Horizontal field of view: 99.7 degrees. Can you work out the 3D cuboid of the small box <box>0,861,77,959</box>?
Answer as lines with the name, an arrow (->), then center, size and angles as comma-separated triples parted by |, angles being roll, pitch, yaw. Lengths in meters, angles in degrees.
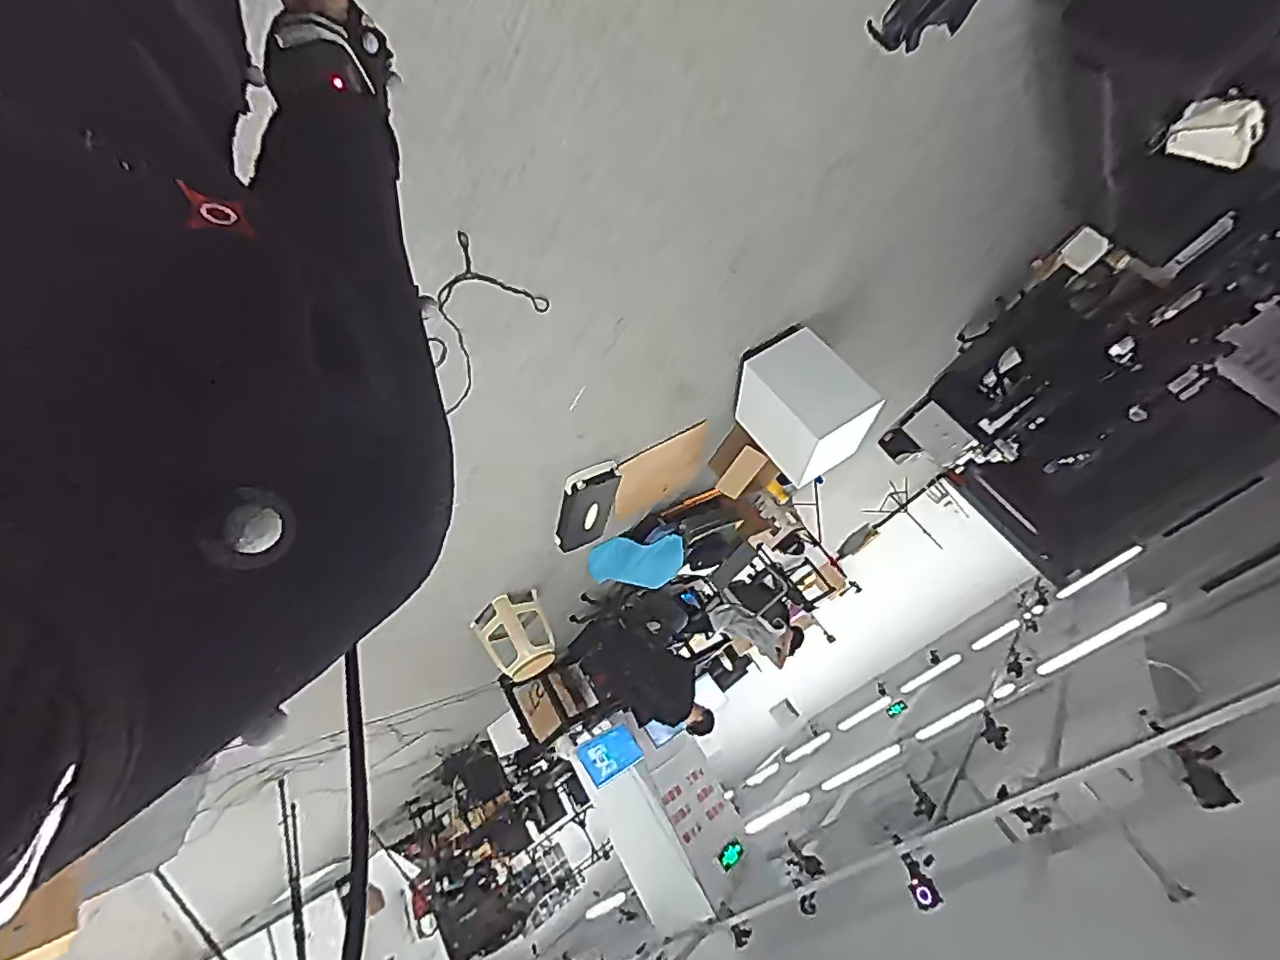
small box -> -1.325, 0.951, 1.126 | 0.168, 0.176, 0.179 | -47, 155, 22
